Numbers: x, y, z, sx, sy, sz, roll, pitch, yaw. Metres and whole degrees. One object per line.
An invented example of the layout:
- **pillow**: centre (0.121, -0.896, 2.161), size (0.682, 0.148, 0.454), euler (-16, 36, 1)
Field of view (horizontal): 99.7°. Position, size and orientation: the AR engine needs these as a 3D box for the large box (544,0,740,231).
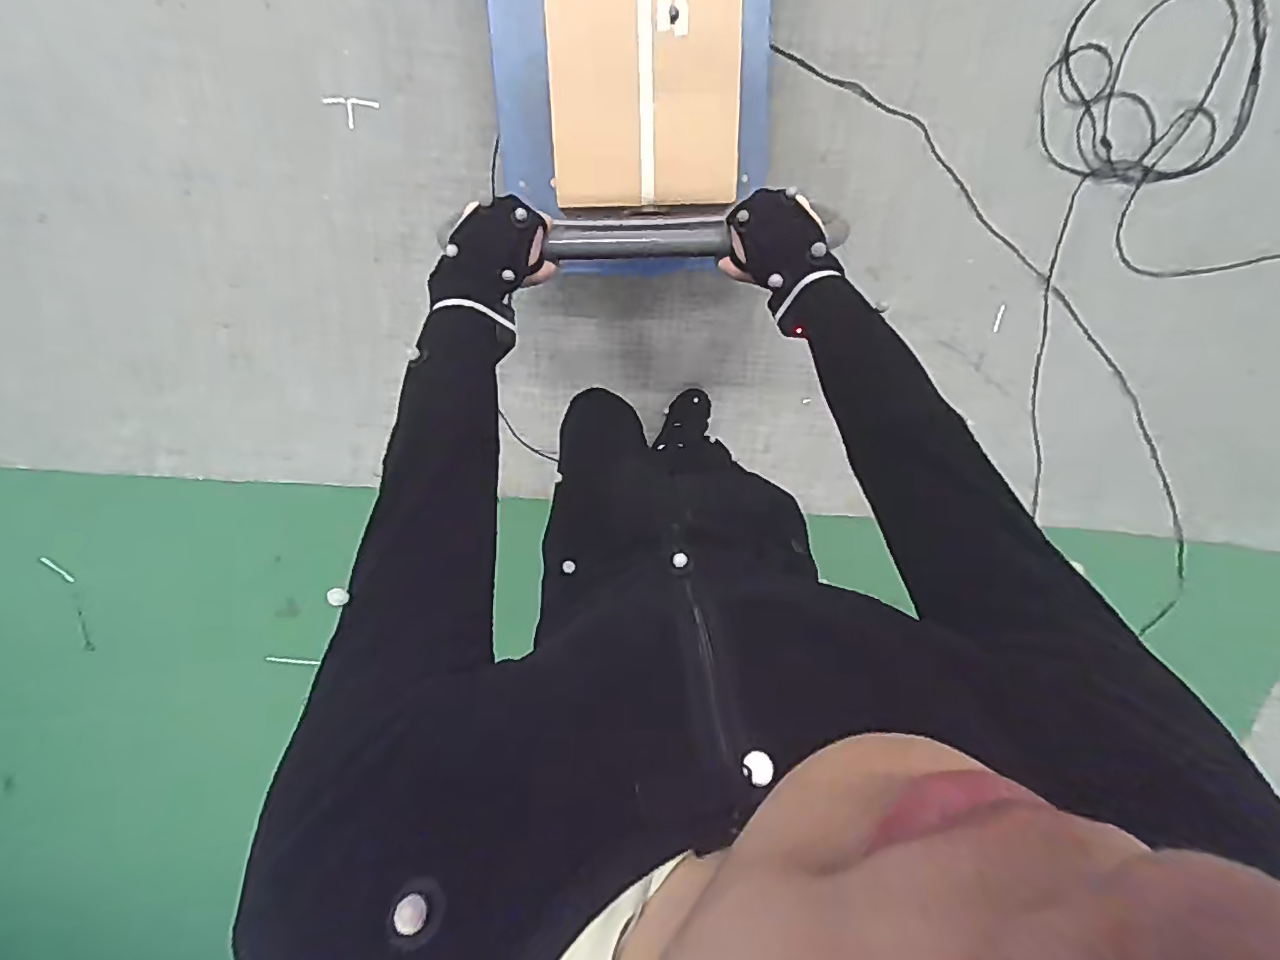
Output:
- **large box**: centre (0.006, -0.713, 1.020), size (0.320, 0.320, 0.408), euler (-2, 108, -1)
